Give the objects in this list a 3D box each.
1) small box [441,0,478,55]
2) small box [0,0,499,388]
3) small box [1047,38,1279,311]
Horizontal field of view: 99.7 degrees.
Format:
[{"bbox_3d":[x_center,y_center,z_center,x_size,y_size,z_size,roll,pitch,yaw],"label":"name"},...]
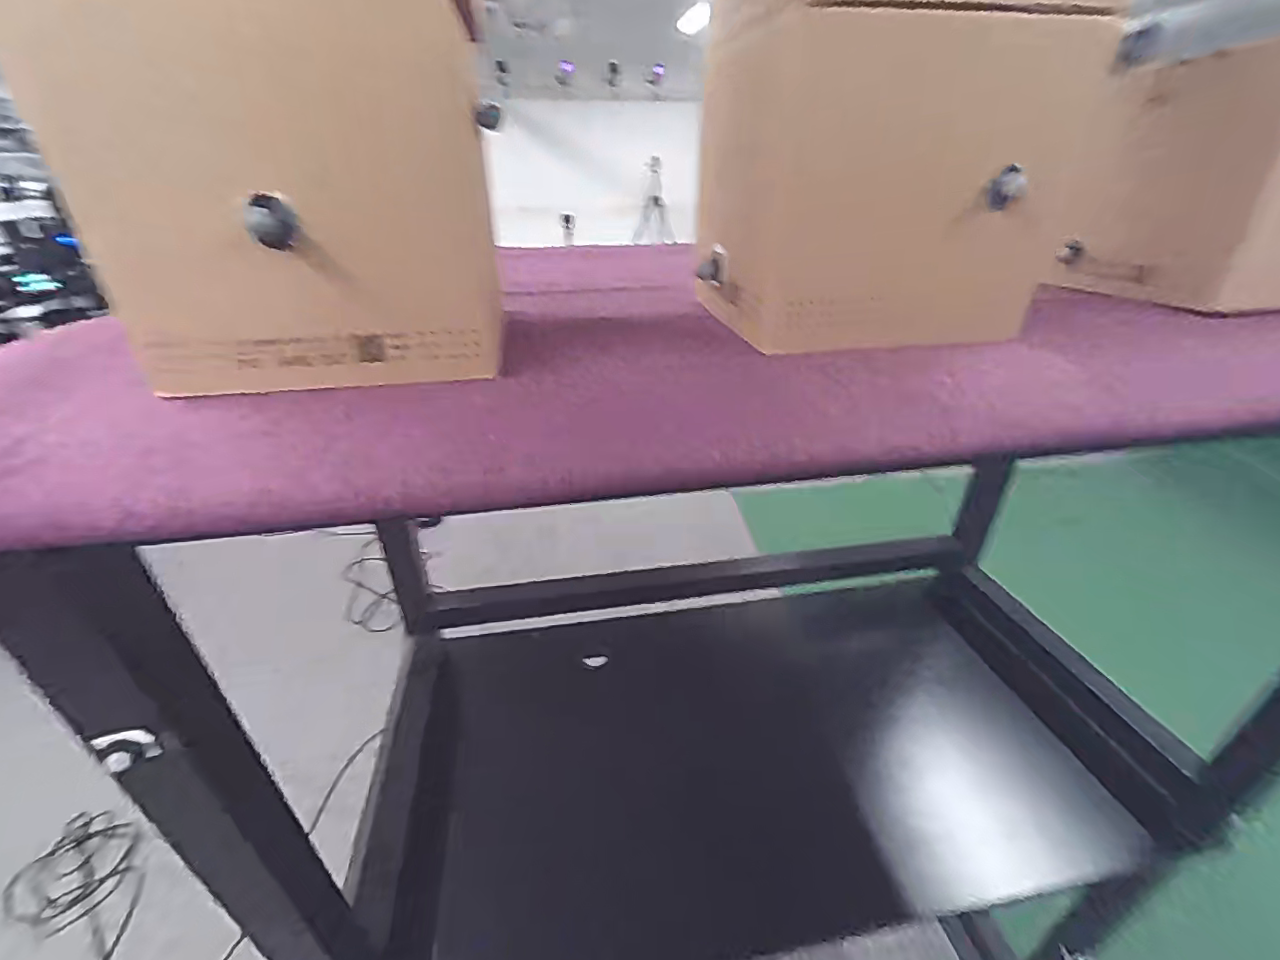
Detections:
[{"bbox_3d":[-0.174,-0.297,0.227,0.179,0.176,0.168,-6,32,-11],"label":"small box"},{"bbox_3d":[-0.175,-0.157,0.310,0.168,0.176,0.179,-5,31,-10],"label":"small box"},{"bbox_3d":[0.478,-0.238,0.438,0.179,0.176,0.168,-5,29,-7],"label":"small box"}]
